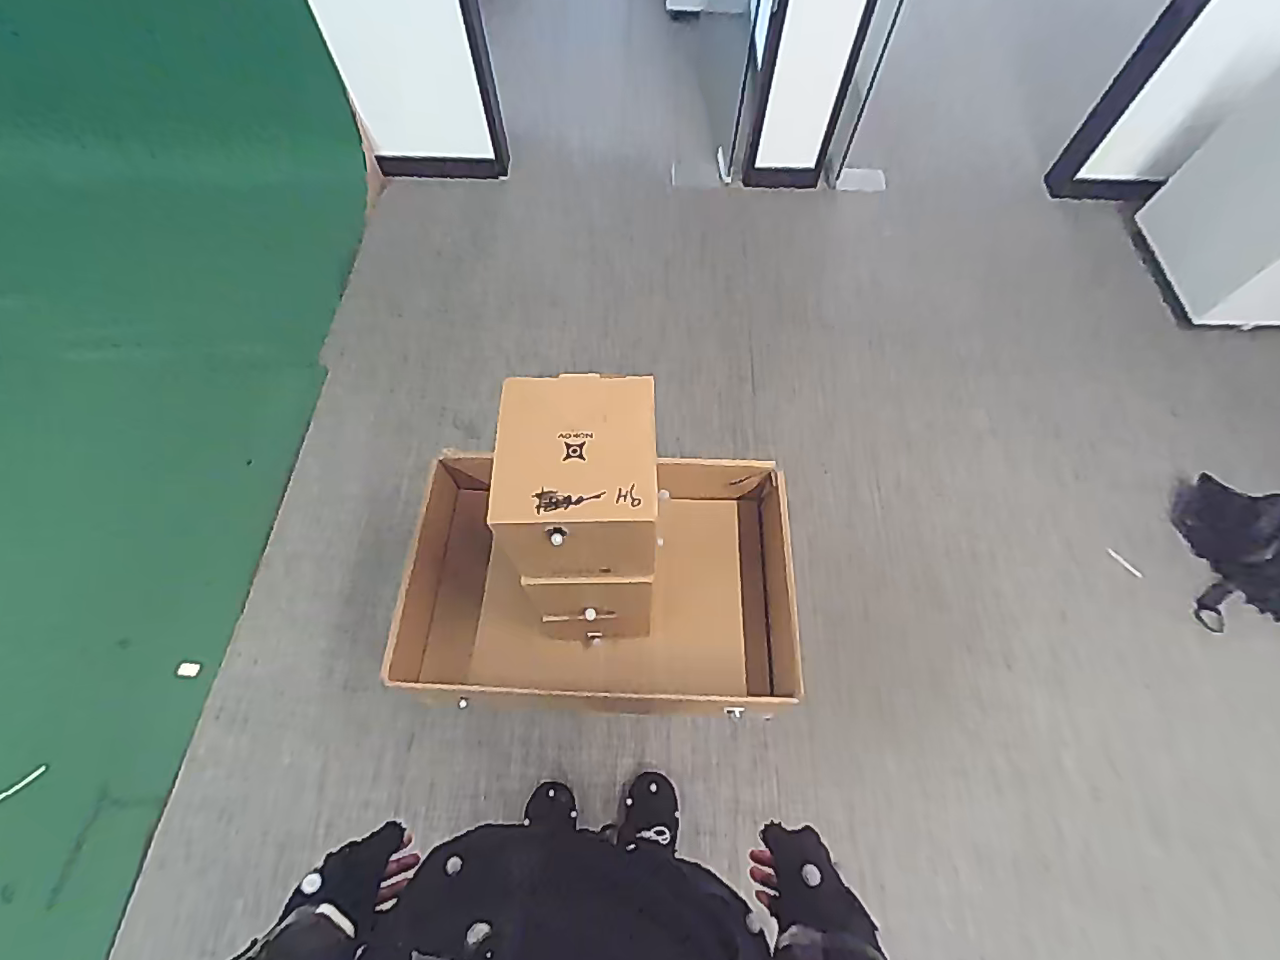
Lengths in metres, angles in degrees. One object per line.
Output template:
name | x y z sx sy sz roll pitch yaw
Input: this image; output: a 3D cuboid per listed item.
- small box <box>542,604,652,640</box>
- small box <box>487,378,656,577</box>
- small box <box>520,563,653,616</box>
small box | -0.068 0.163 0.914 0.168 0.176 0.179 -2 63 -1
small box | -0.066 0.002 0.629 0.168 0.176 0.179 -1 61 1
small box | -0.066 0.086 0.770 0.168 0.176 0.179 -1 63 1
